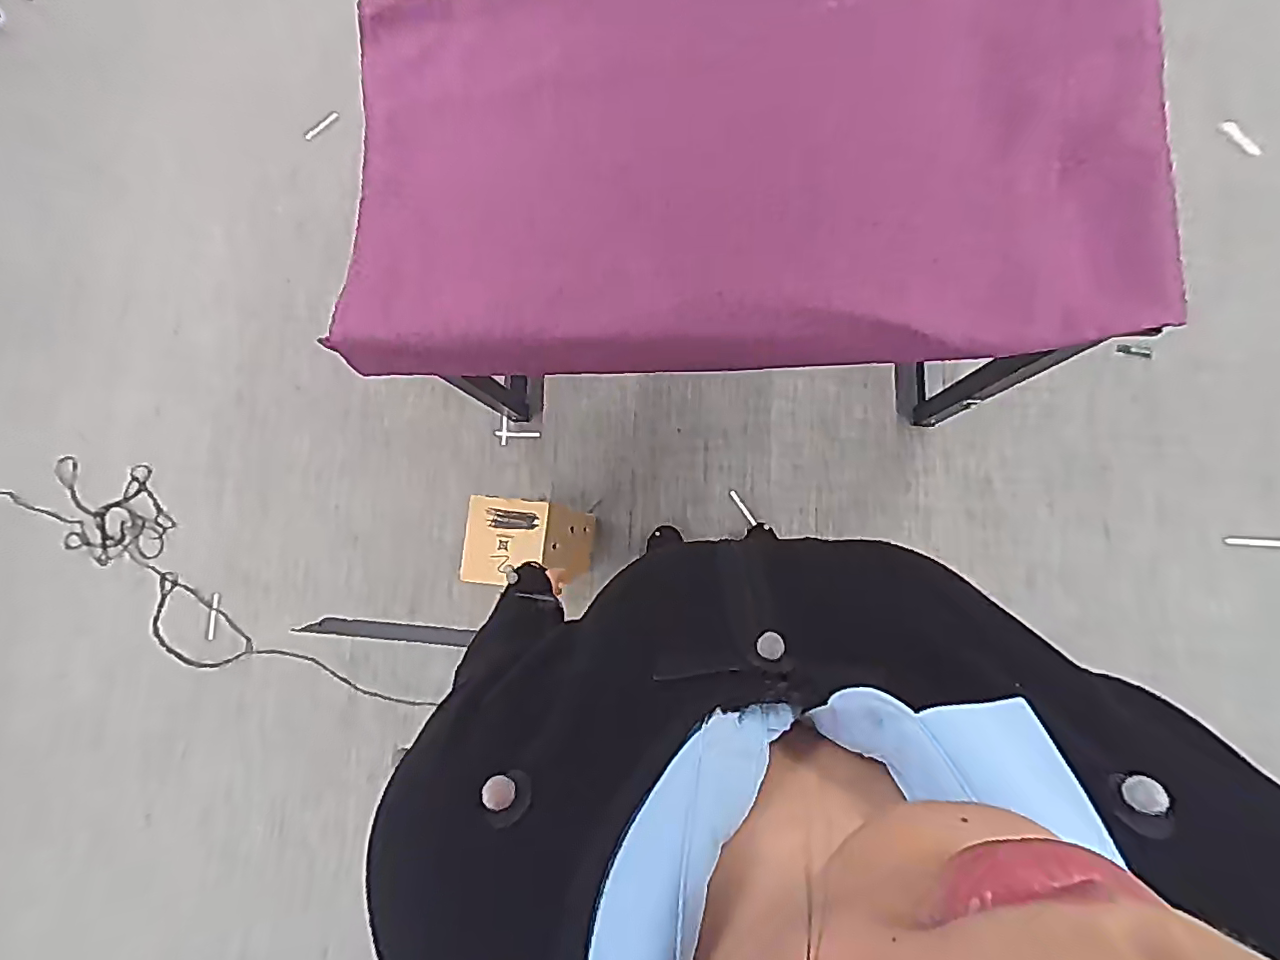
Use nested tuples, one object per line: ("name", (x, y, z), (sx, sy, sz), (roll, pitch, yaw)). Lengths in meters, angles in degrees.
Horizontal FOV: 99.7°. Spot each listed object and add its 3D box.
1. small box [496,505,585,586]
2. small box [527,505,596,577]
("small box", (-0.233, 0.157, 1.309), (0.168, 0.176, 0.179), (3, 85, 7))
("small box", (-0.223, 0.171, 1.473), (0.168, 0.176, 0.179), (8, 85, 7))
